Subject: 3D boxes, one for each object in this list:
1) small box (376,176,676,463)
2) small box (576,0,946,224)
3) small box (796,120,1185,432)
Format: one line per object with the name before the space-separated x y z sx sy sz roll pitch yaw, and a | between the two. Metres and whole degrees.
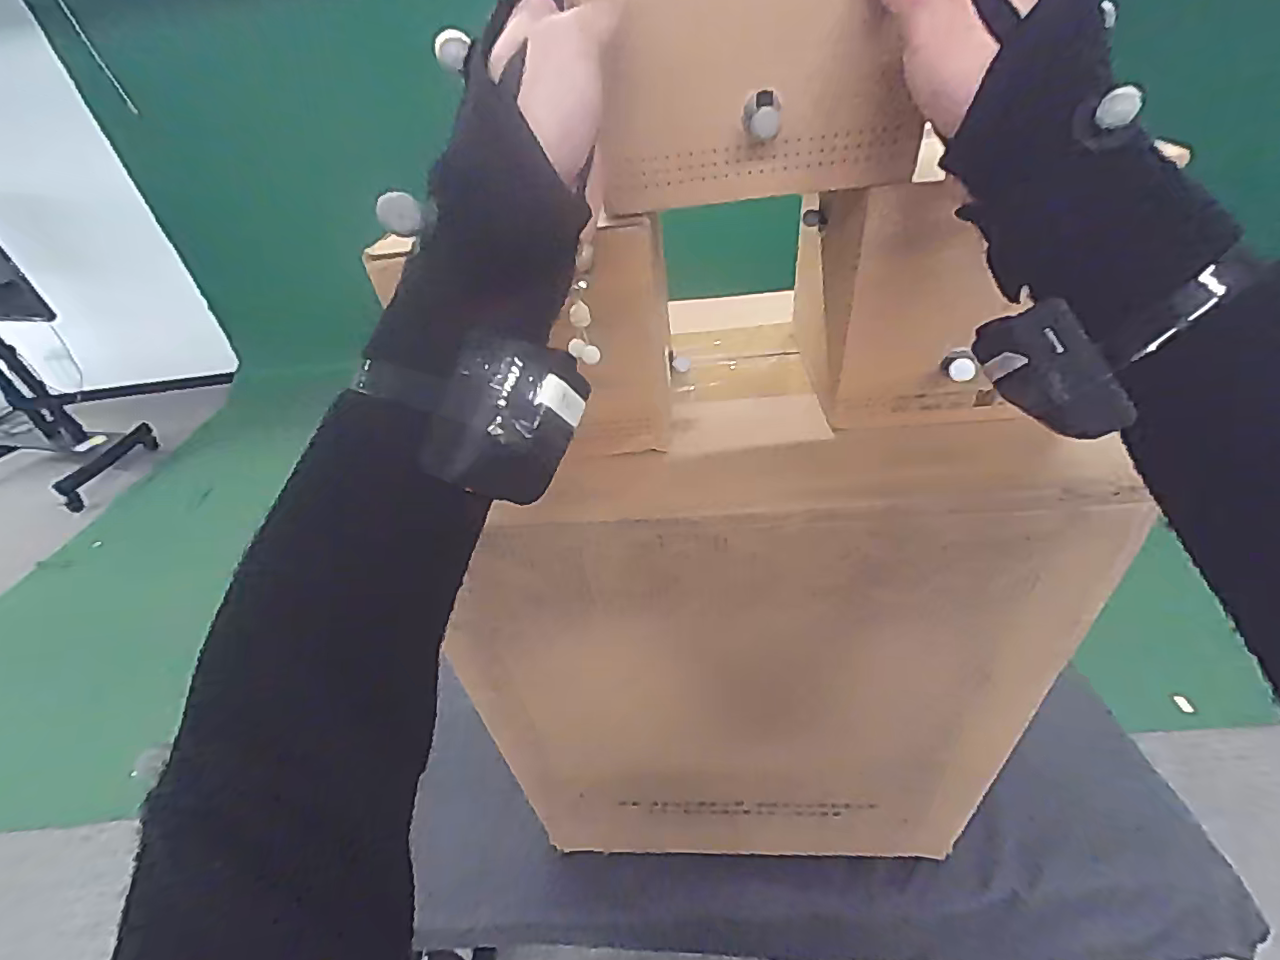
small box | -0.064 -0.125 0.429 0.179 0.176 0.168 -3 41 5
small box | 0.057 -0.266 0.310 0.179 0.176 0.168 -5 43 2
small box | 0.221 -0.155 0.410 0.168 0.176 0.179 -3 42 5
